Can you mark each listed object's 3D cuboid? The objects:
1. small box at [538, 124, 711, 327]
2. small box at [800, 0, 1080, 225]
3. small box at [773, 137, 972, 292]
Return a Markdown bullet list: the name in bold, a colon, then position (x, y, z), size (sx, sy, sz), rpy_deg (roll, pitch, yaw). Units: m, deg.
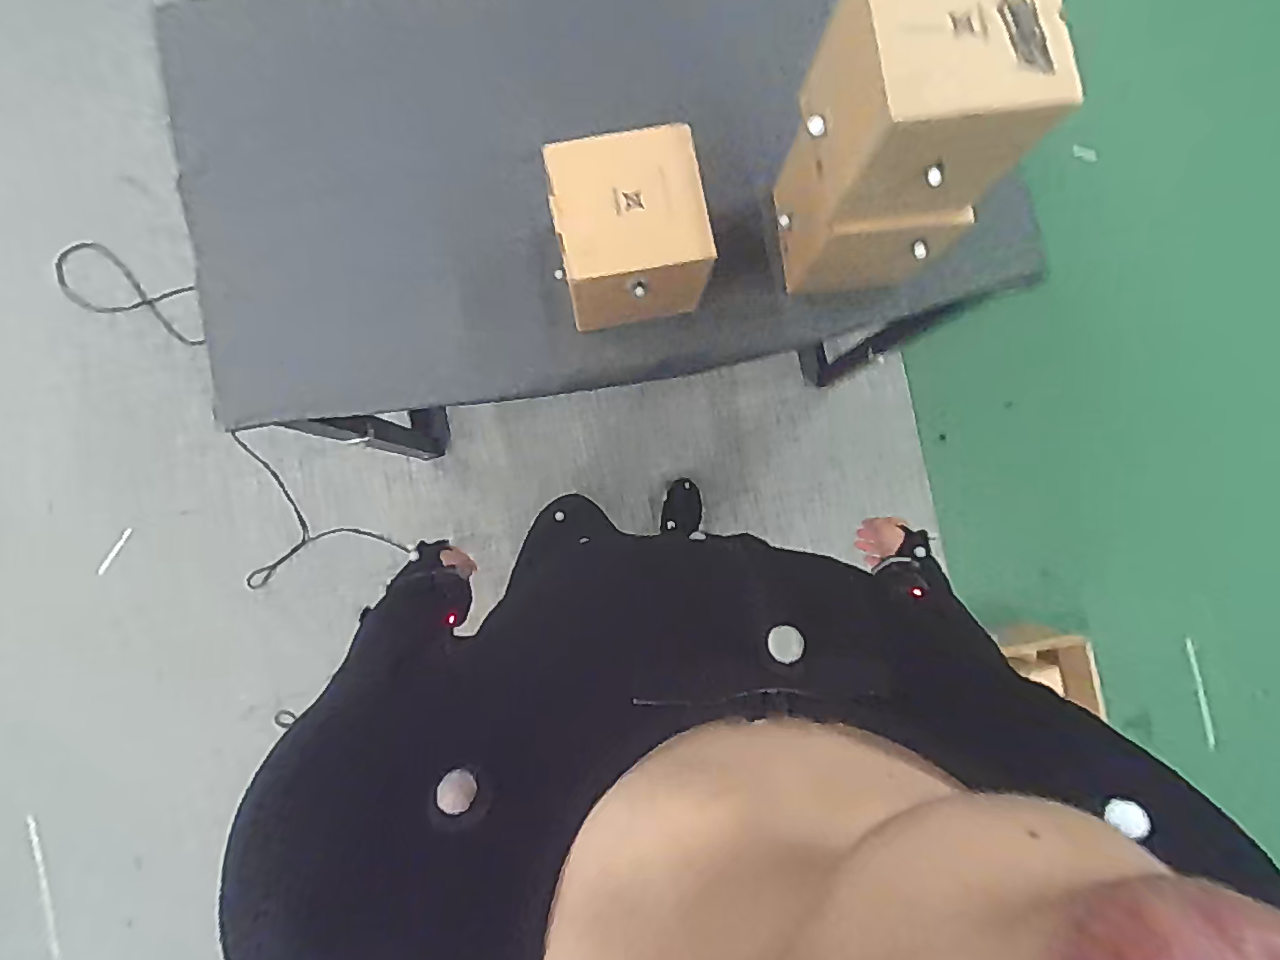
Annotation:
- **small box**: position (-0.021, -0.311, 0.695), size (0.179, 0.176, 0.168), rpy_deg (-11, 87, -4)
- **small box**: position (0.282, -0.385, 0.547), size (0.179, 0.176, 0.168), rpy_deg (-7, 85, -2)
- **small box**: position (0.290, -0.363, 0.710), size (0.179, 0.176, 0.168), rpy_deg (-6, 85, -3)
